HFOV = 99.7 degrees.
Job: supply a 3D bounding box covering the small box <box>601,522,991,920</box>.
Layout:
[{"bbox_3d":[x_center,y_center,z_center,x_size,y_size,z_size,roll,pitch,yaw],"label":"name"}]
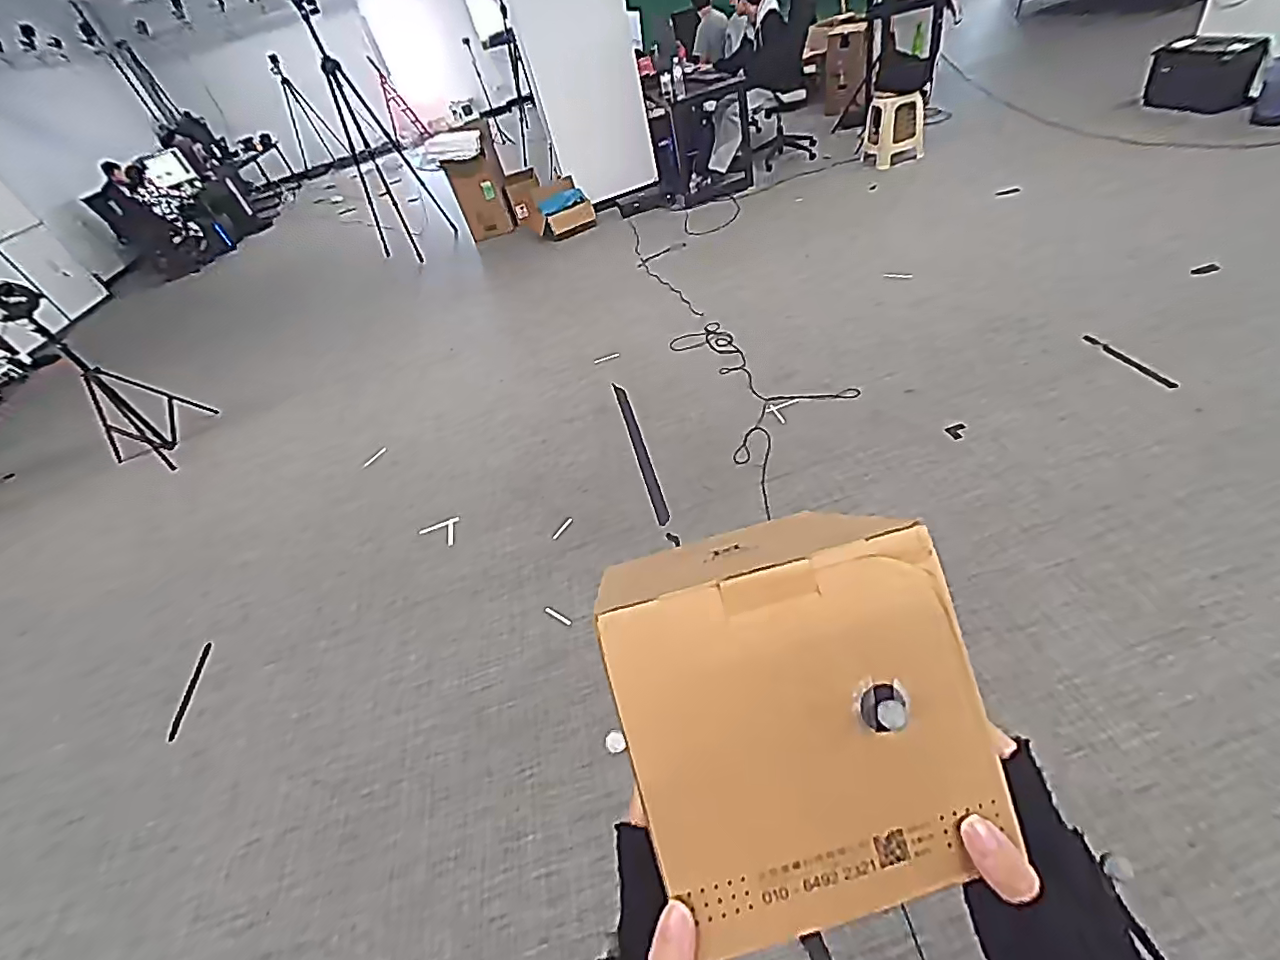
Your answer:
[{"bbox_3d":[0.080,0.134,0.348,0.168,0.176,0.179,-16,-2,-1],"label":"small box"}]
